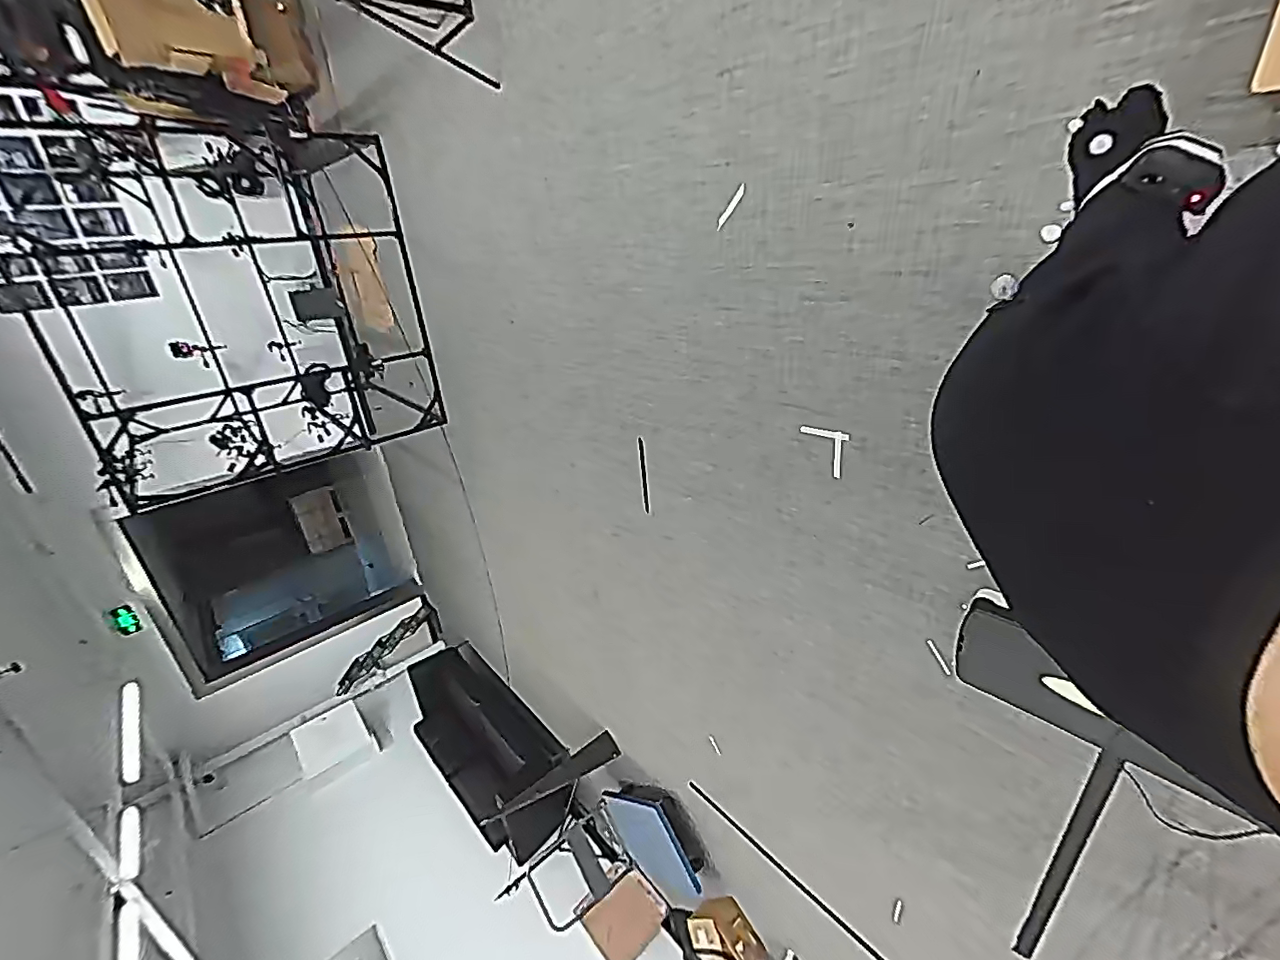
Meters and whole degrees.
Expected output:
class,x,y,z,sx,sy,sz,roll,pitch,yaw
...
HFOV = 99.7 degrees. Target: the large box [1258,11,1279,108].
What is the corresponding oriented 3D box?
class,x,y,z,sx,sy,sz,roll,pitch,yaw
large box,1.053,-0.658,0.613,0.408,0.320,0.320,21,126,44
